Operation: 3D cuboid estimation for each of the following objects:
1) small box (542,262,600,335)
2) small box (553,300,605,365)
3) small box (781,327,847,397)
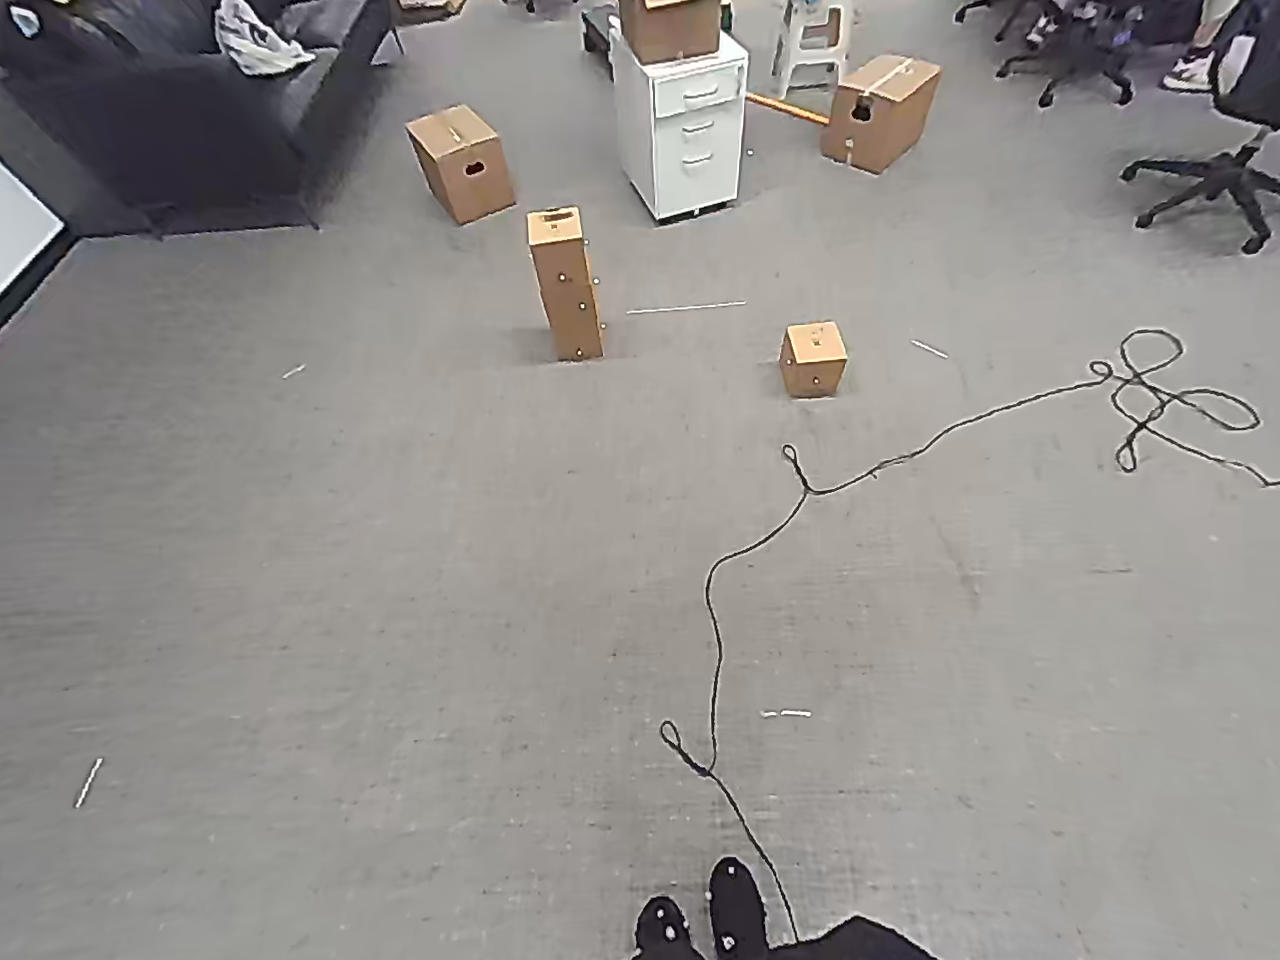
[{"bbox_3d":[-0.238,-0.636,1.902,0.179,0.176,0.168,-8,55,2],"label":"small box"},{"bbox_3d":[-0.226,-0.555,2.044,0.179,0.176,0.168,-5,56,2],"label":"small box"},{"bbox_3d":[0.590,-0.397,1.854,0.168,0.176,0.179,-5,57,2],"label":"small box"}]
